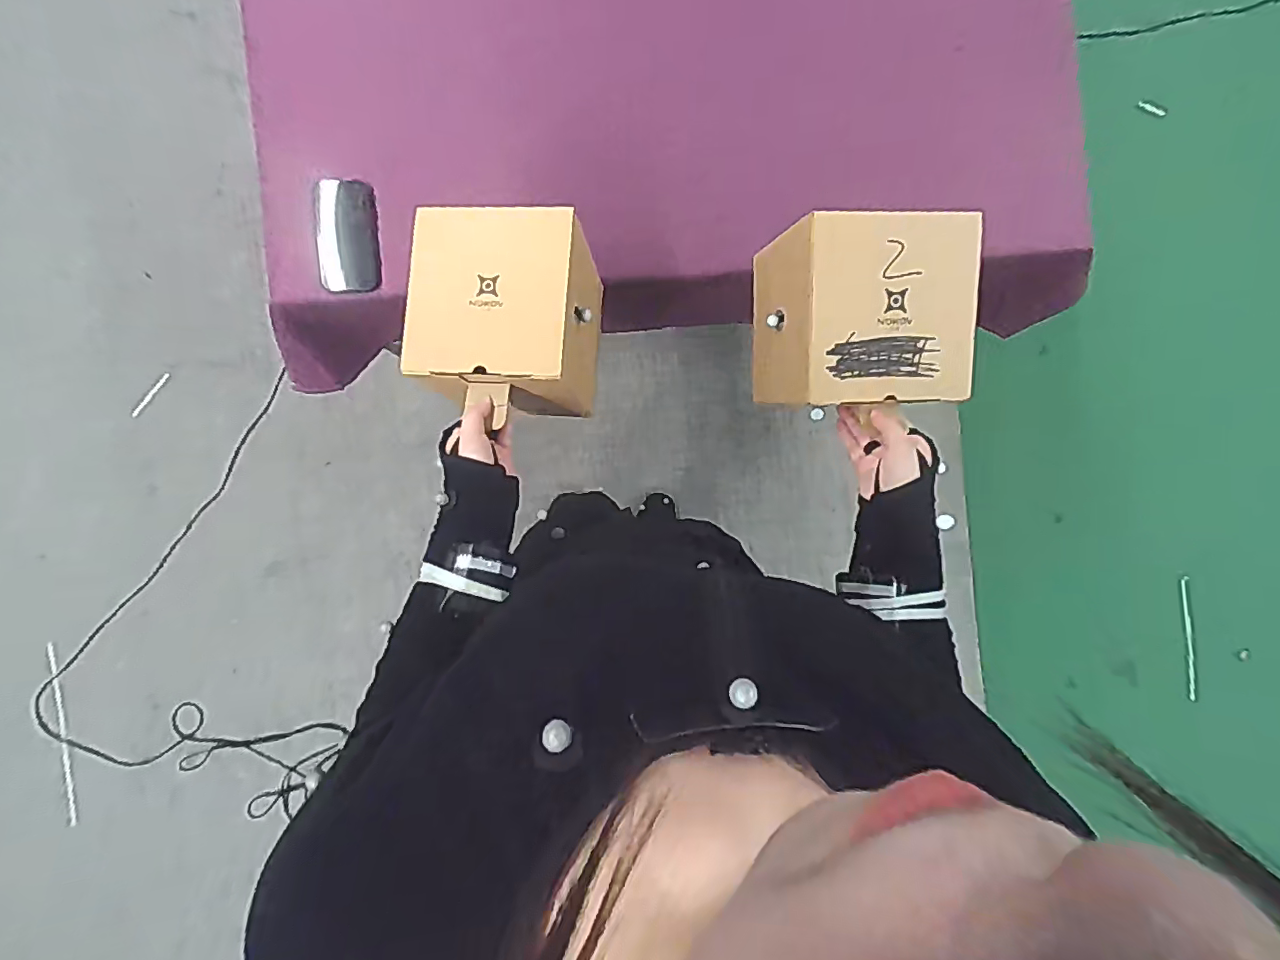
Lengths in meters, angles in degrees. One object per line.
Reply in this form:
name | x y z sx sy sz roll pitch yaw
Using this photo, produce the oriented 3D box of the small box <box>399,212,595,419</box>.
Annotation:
small box | -0.148 -0.177 0.620 0.168 0.176 0.179 3 85 6
